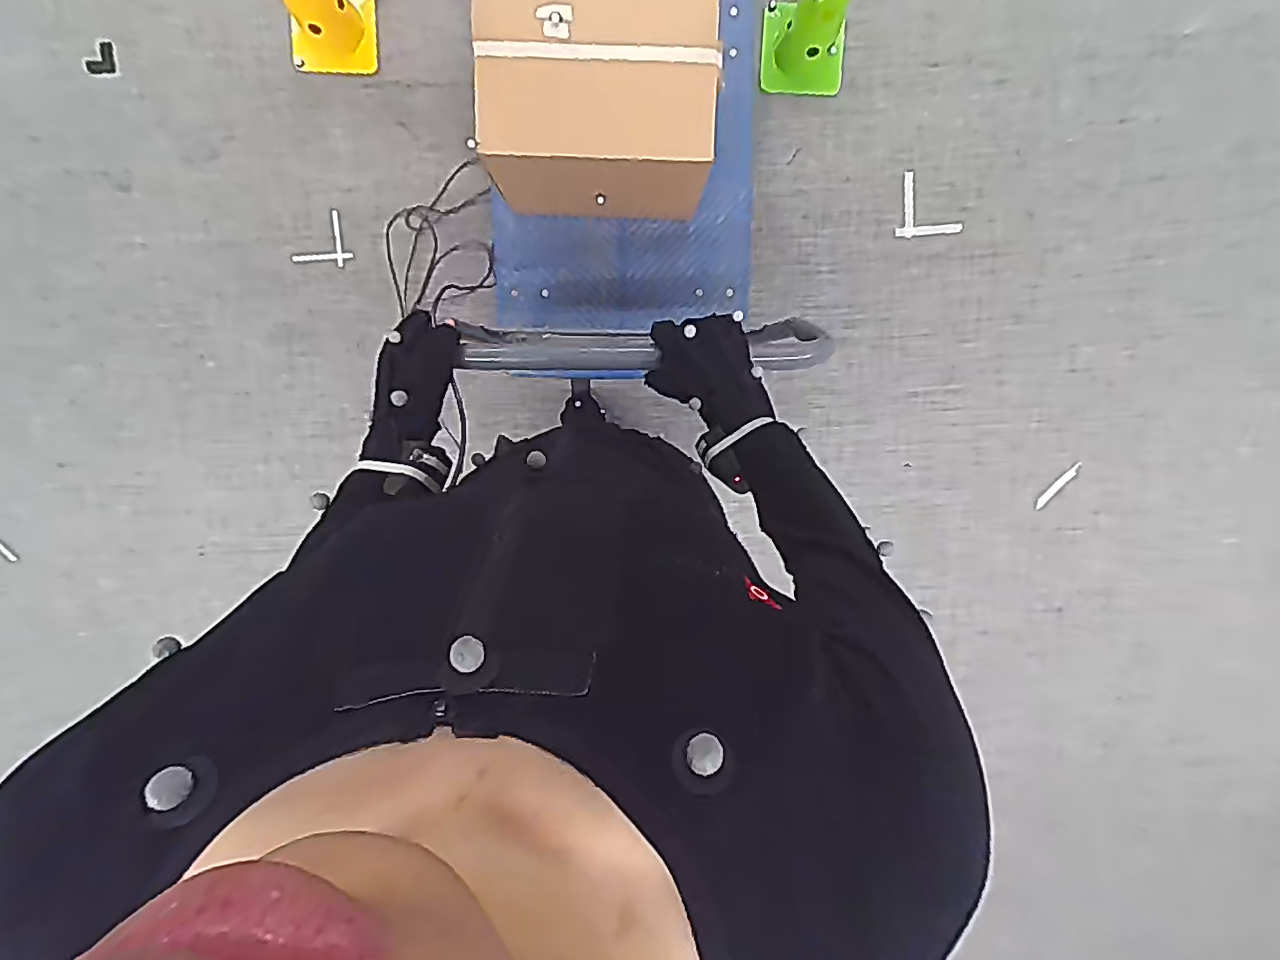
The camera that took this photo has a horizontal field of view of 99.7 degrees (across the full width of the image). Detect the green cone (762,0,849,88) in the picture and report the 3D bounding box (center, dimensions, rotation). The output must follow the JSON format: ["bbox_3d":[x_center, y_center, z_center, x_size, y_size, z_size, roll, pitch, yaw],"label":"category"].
[{"bbox_3d":[0.408,-1.045,1.150,0.202,0.368,0.200,1,98,-2],"label":"green cone"}]

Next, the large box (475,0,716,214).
[{"bbox_3d":[-0.072,-0.723,1.045,0.408,0.320,0.320,1,99,0],"label":"large box"}]
